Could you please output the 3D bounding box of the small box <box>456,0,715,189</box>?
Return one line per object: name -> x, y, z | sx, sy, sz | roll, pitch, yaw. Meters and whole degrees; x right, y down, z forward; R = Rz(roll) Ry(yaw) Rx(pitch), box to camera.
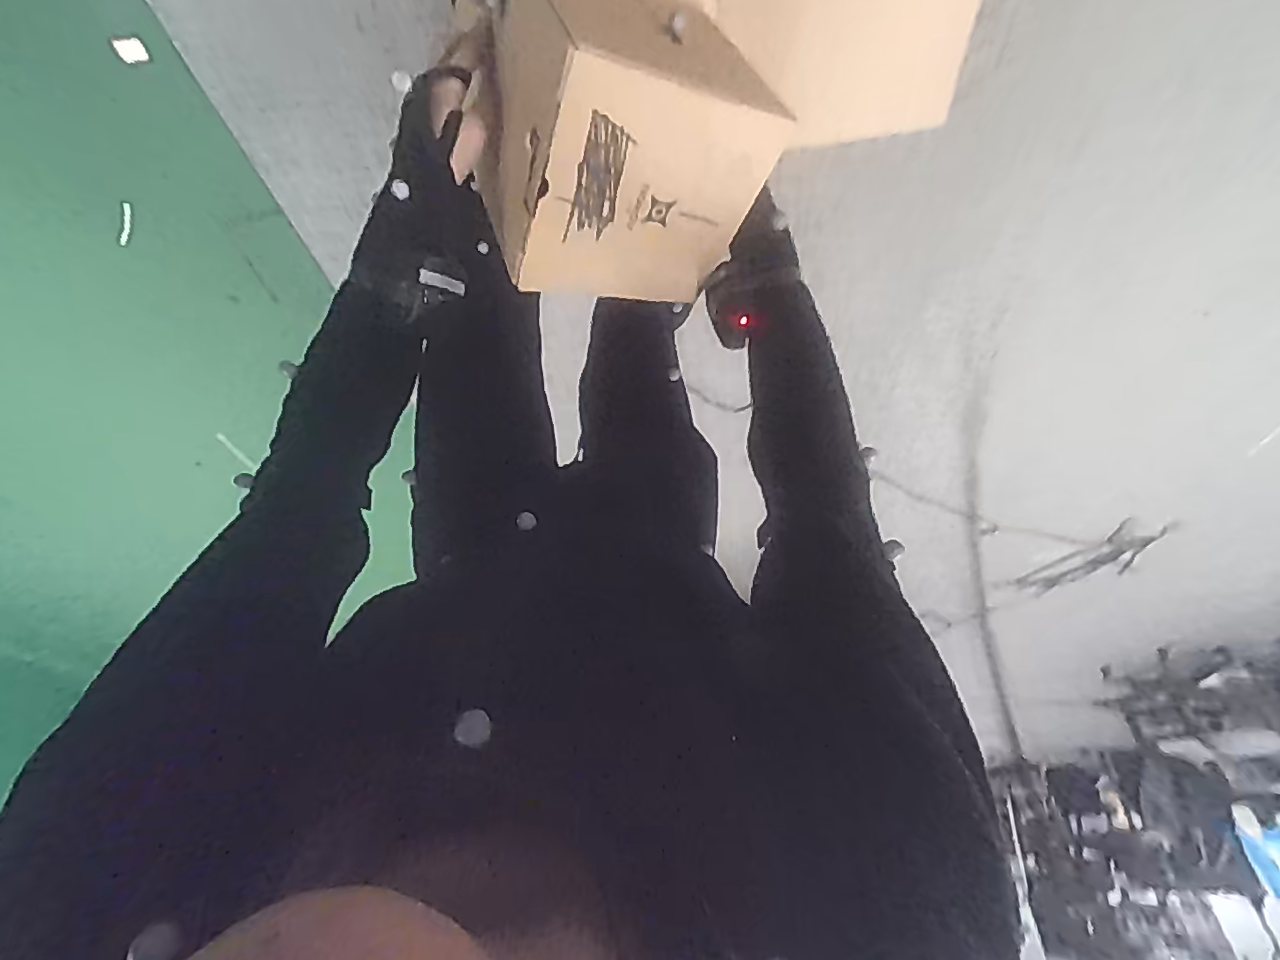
small box -> -0.065, -0.412, 0.494 | 0.168, 0.176, 0.179 | -3, 147, -30
